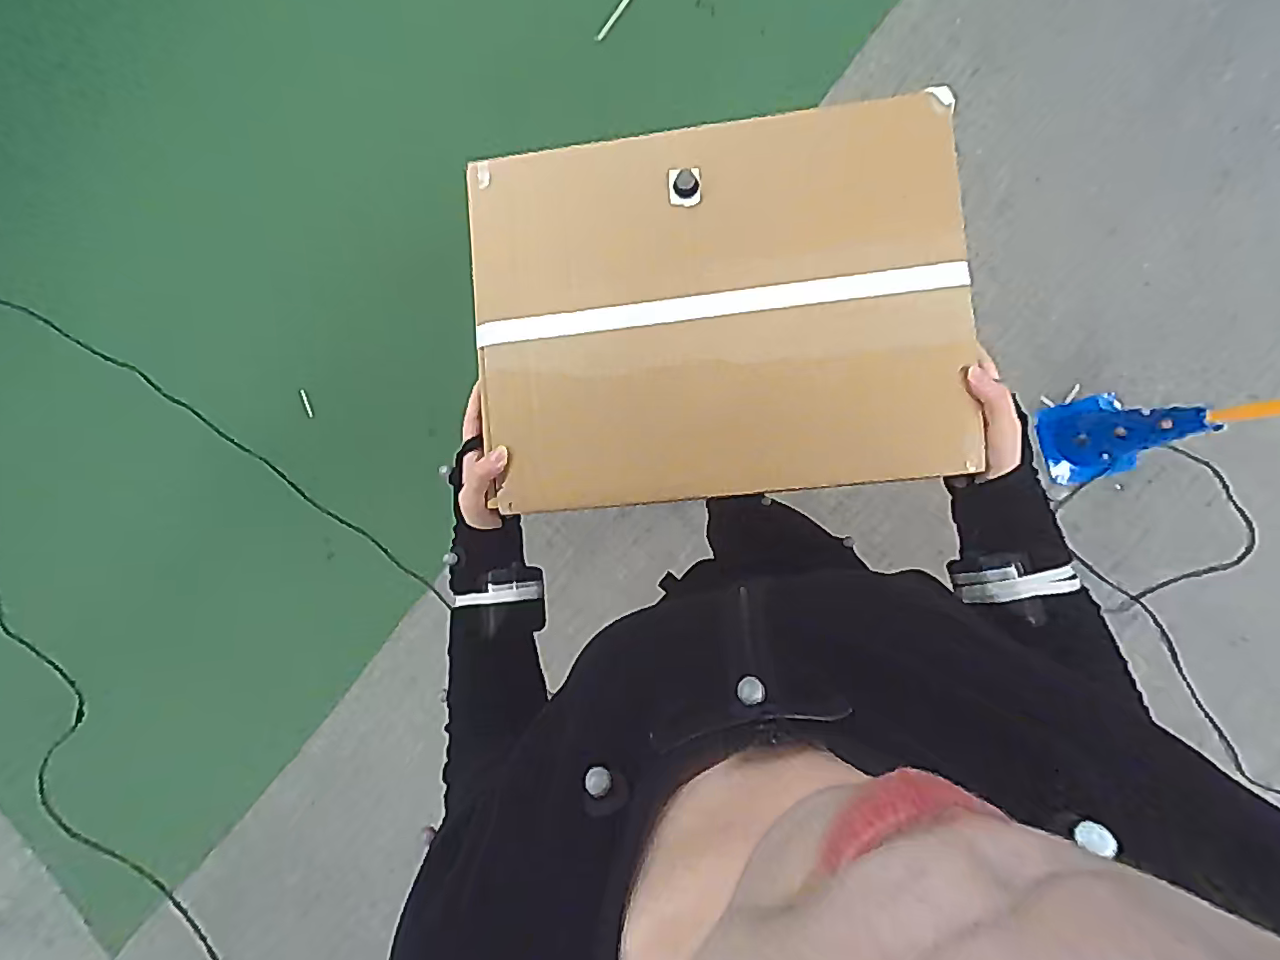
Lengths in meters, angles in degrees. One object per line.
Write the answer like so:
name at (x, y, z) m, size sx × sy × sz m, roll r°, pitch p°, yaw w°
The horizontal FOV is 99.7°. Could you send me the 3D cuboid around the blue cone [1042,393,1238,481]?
blue cone at (1.084, -0.116, 1.166) m, size 0.192 × 0.380 × 0.193 m, roll -18°, pitch 84°, yaw 7°
